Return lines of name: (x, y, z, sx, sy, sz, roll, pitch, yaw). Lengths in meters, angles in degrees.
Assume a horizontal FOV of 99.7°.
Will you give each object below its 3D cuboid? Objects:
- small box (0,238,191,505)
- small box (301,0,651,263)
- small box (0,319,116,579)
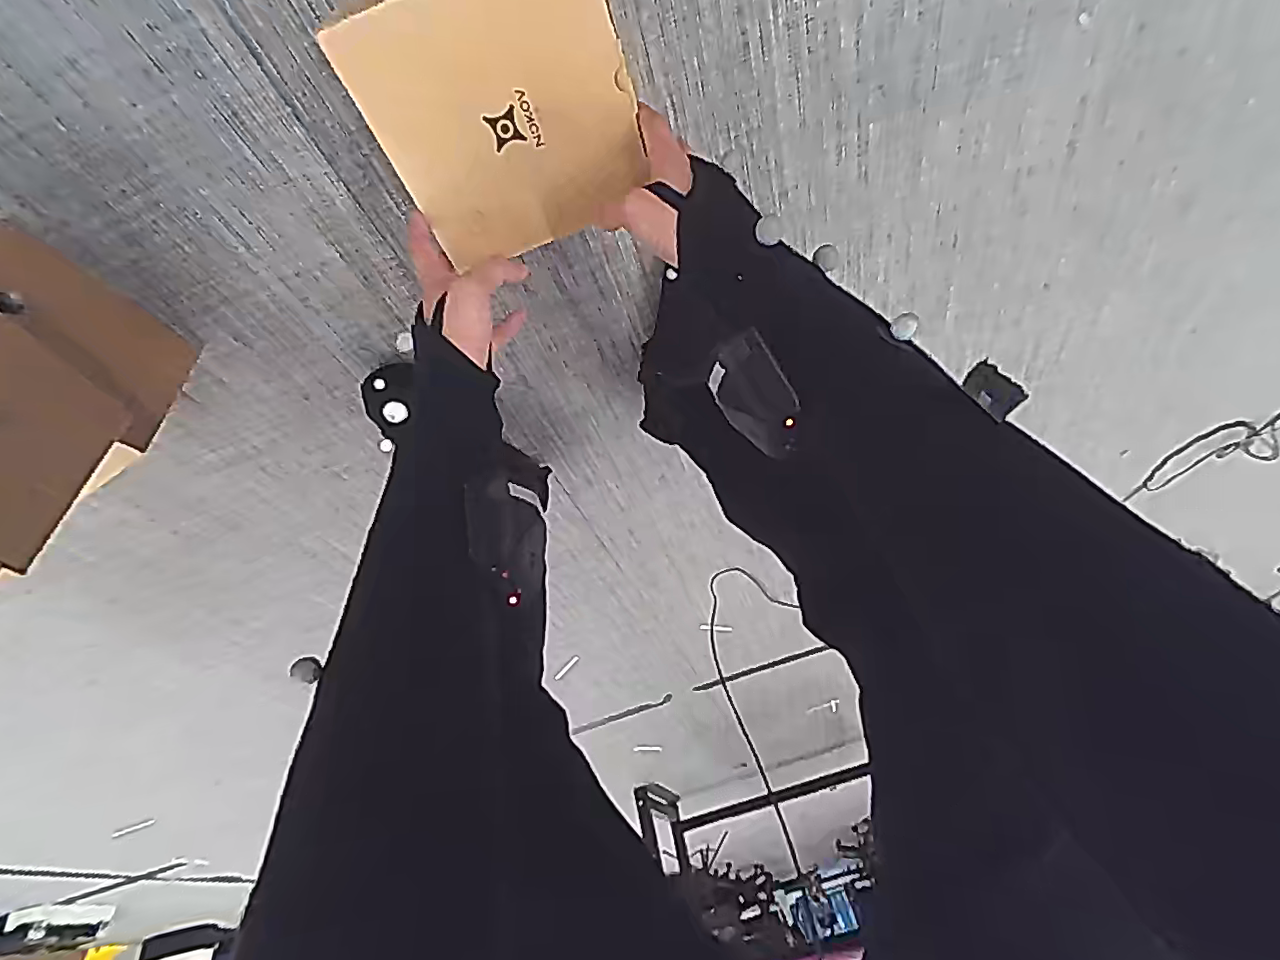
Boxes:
small box: (-0.577, -0.093, 0.496, 0.168, 0.176, 0.179, -28, 138, 14)
small box: (-0.110, -0.306, 0.415, 0.179, 0.176, 0.168, -21, 139, 4)
small box: (-0.512, -0.028, 0.340, 0.168, 0.176, 0.179, -18, 139, 3)
